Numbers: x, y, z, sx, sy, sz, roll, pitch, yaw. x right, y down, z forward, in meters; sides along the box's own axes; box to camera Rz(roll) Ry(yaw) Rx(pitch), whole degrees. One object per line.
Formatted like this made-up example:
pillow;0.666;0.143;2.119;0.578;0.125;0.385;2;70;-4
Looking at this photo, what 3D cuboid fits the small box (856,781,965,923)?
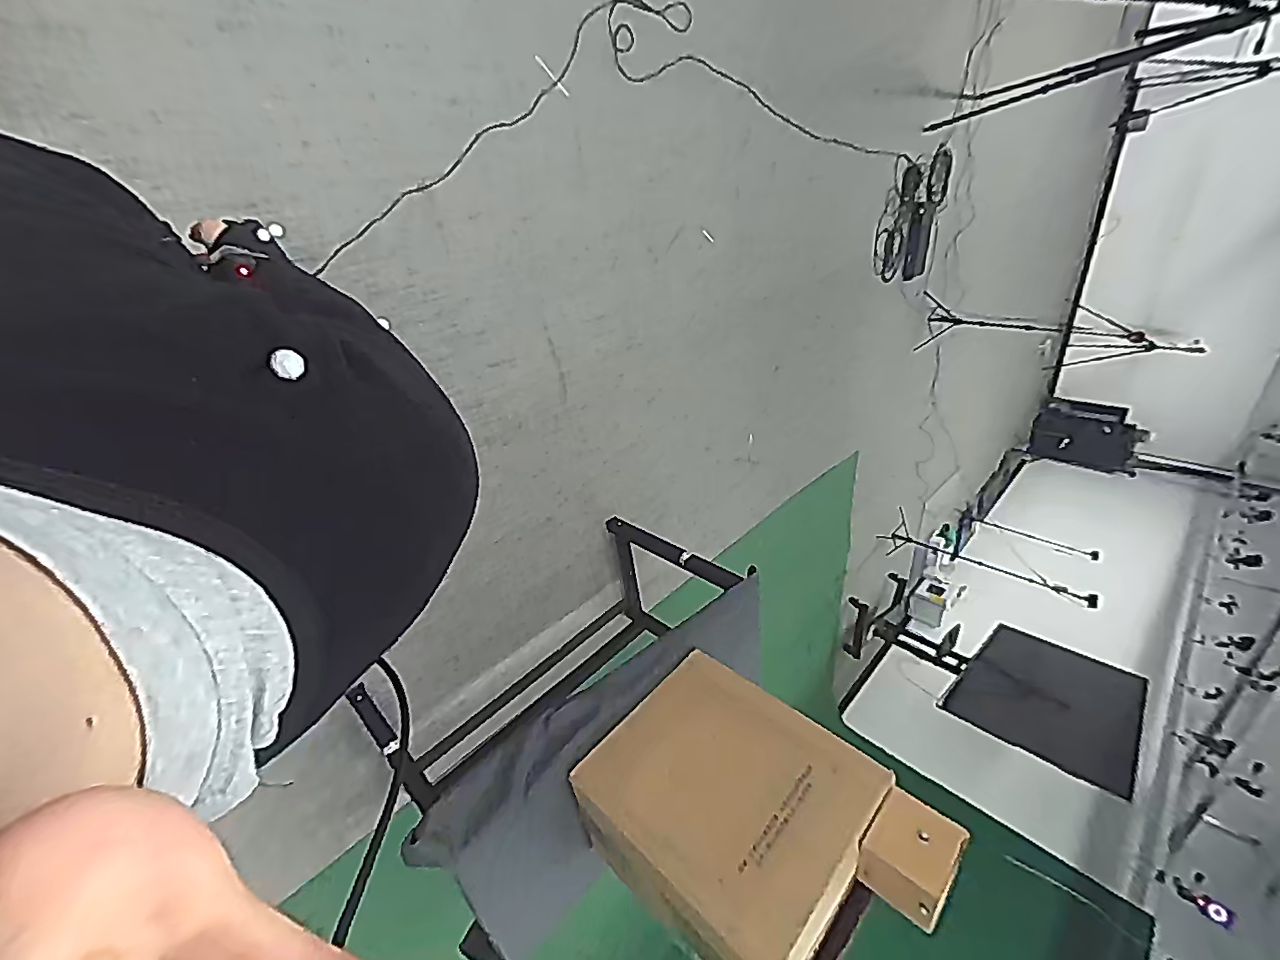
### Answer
small box;0.619;0.845;1.245;0.179;0.176;0.168;-35;128;-35
